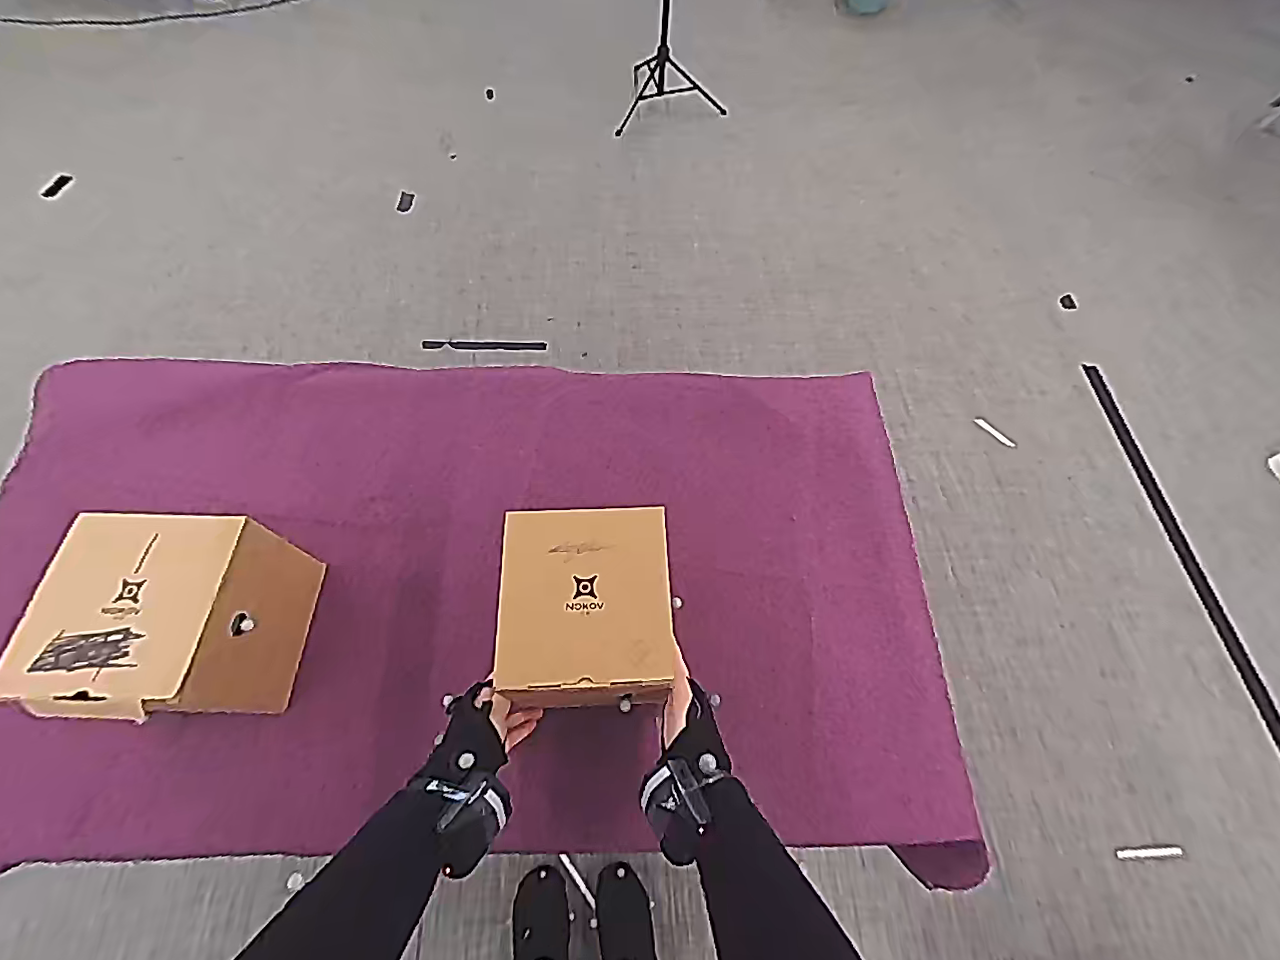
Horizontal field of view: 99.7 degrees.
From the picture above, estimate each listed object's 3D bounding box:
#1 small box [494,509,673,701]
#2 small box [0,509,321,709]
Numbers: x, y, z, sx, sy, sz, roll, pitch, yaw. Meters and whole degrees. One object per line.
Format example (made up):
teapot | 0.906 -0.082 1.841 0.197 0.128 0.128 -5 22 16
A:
small box | -0.054 0.144 0.592 0.168 0.176 0.179 -1 63 -3
small box | -0.477 0.145 0.576 0.168 0.176 0.179 2 63 -1
